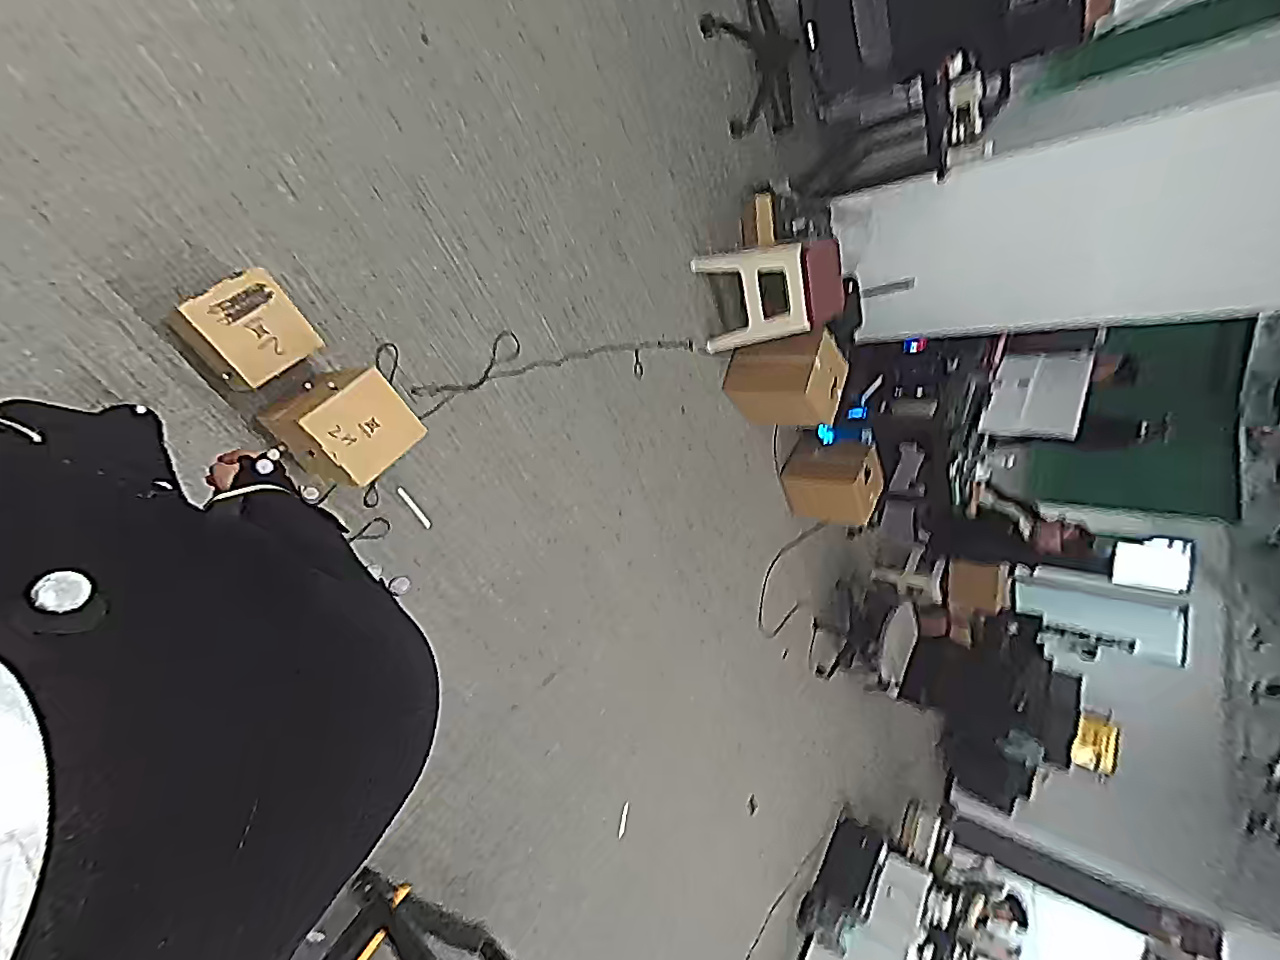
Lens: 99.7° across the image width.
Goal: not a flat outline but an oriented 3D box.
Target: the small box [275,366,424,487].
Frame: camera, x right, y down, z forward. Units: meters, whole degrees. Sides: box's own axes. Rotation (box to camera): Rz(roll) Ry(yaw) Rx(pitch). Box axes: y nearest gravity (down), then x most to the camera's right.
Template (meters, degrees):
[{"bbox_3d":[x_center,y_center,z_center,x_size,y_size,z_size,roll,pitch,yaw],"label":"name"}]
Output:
[{"bbox_3d":[-0.581,-0.110,1.081,0.179,0.176,0.168,-50,128,-30],"label":"small box"}]

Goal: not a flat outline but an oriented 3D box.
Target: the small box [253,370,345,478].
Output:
[{"bbox_3d":[-0.702,-0.127,1.191,0.179,0.176,0.168,-49,128,-31],"label":"small box"}]
